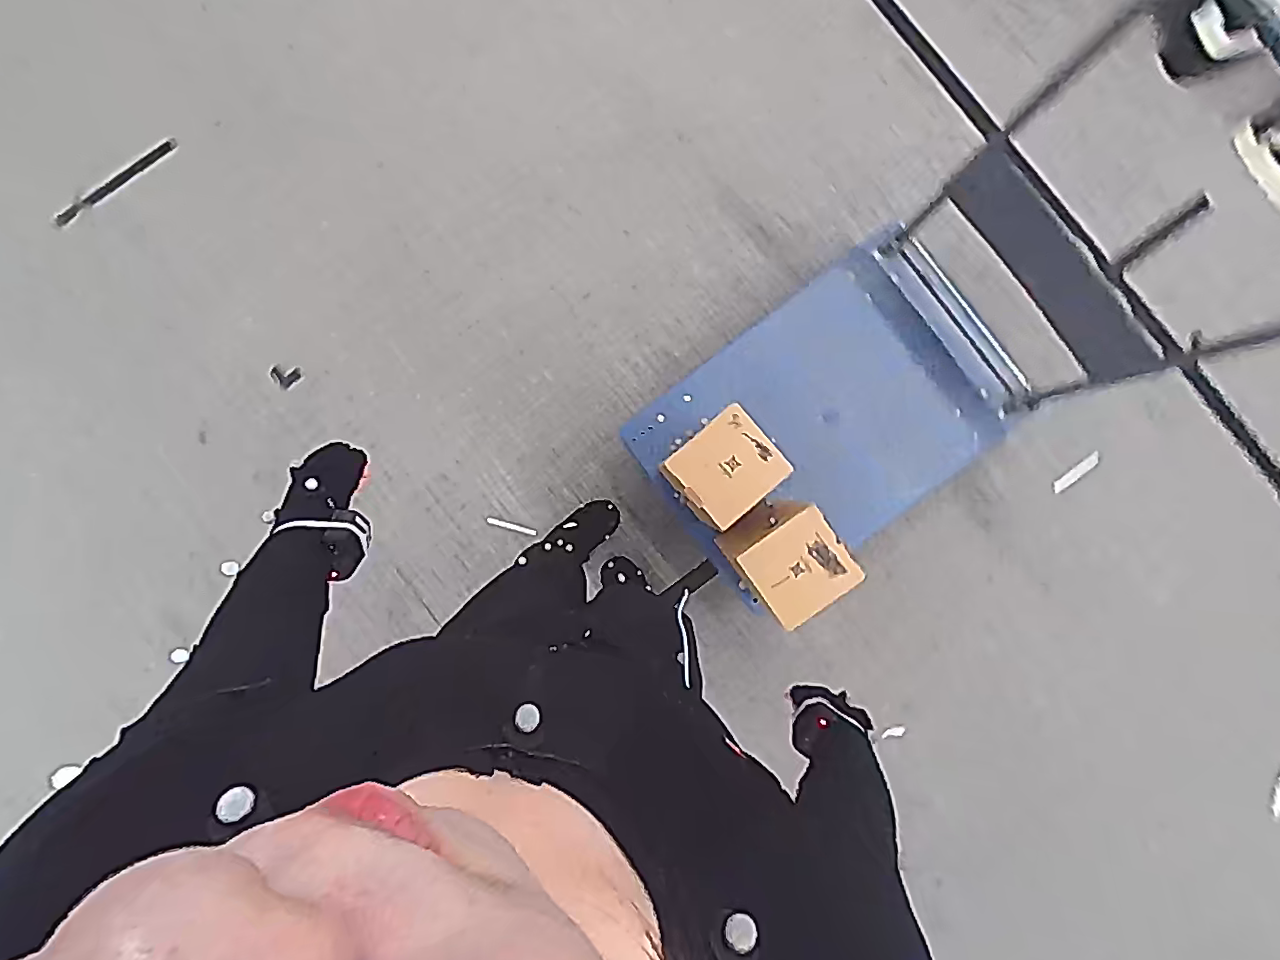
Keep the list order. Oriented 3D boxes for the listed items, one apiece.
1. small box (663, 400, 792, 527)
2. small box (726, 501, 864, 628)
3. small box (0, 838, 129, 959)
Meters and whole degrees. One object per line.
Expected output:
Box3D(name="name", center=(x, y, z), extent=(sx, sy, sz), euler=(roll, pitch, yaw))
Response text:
Box3D(name="small box", center=(0.161, -0.029, 1.052), extent=(0.179, 0.176, 0.168), euler=(-40, 90, 0))
Box3D(name="small box", center=(0.288, 0.152, 1.049), extent=(0.179, 0.176, 0.168), euler=(-34, 90, 0))
Box3D(name="small box", center=(-1.502, 1.089, 1.397), extent=(0.168, 0.176, 0.179), euler=(45, 89, 1))
